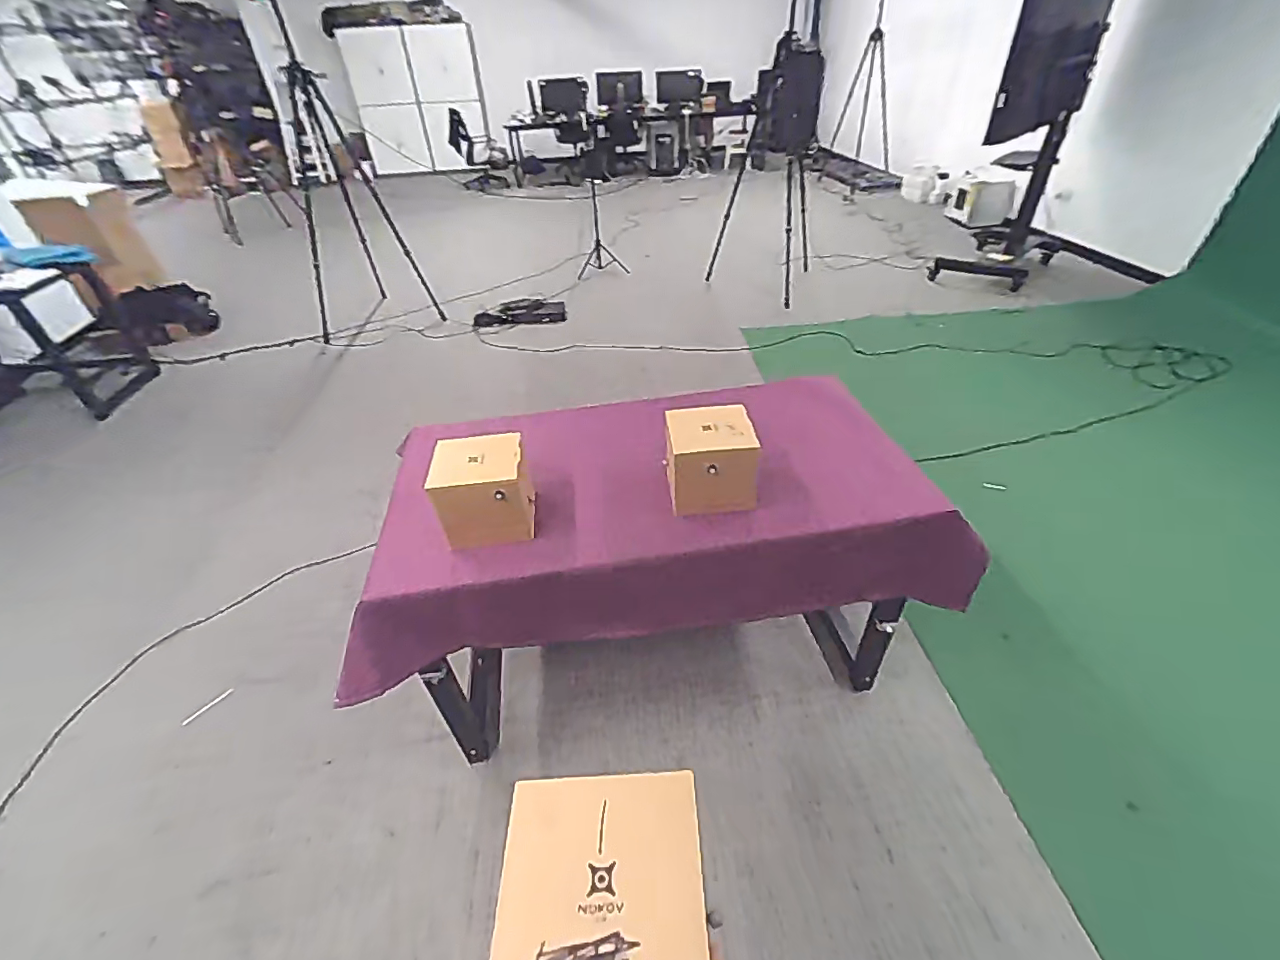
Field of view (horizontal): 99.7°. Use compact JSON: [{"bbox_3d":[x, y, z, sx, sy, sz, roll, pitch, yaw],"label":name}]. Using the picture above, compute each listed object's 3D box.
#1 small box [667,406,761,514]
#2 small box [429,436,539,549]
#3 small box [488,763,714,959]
[{"bbox_3d":[0.155,-0.040,1.169,0.179,0.176,0.168,-5,39,0],"label":"small box"},{"bbox_3d":[-0.317,0.029,1.134,0.179,0.176,0.168,-7,38,-4],"label":"small box"},{"bbox_3d":[-0.023,0.382,0.485,0.168,0.176,0.179,-6,40,4],"label":"small box"}]
